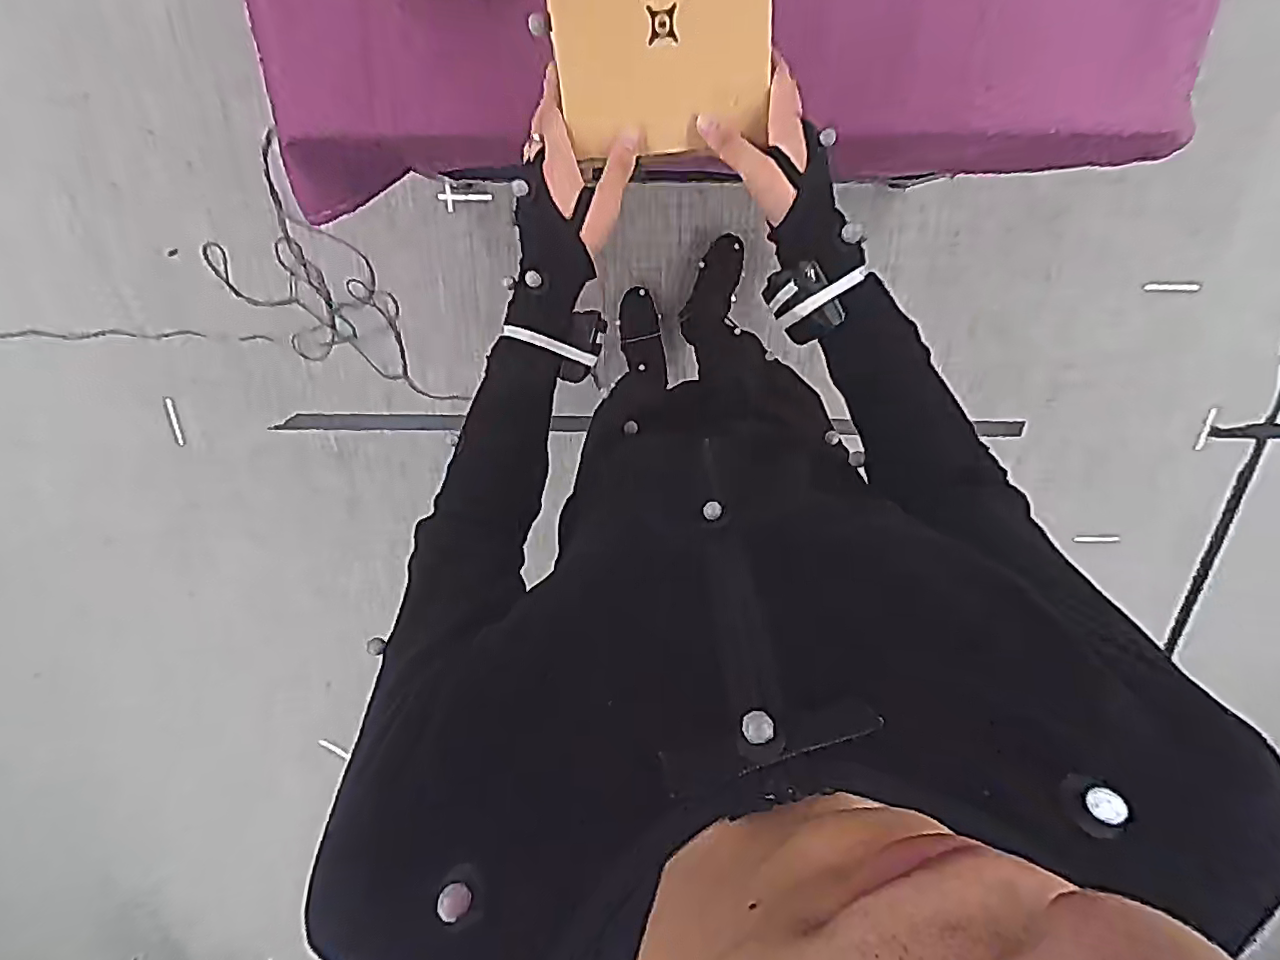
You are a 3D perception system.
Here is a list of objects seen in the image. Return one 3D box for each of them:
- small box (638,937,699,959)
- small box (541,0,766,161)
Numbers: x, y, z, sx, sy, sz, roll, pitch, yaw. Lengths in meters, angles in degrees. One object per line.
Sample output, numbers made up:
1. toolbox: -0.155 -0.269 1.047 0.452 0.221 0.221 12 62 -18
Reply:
1. small box: 0.090 1.454 1.553 0.179 0.176 0.168 -5 112 0
2. small box: 0.005 -0.382 0.464 0.168 0.176 0.179 -8 118 -2
